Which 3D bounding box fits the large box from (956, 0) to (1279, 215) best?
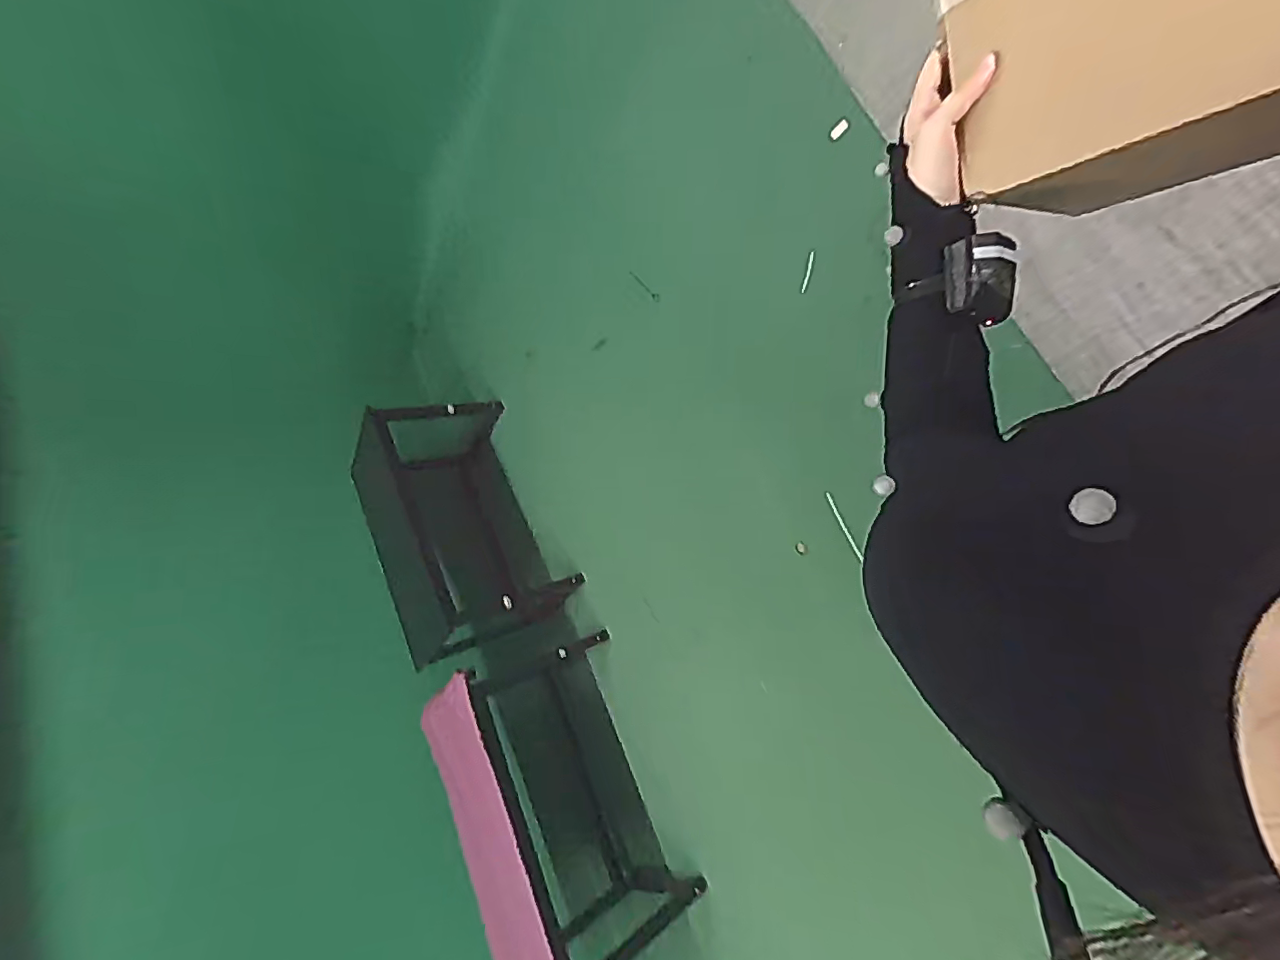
[{"bbox_3d":[0.485,-0.427,0.371,0.408,0.320,0.320,-3,103,51],"label":"large box"}]
